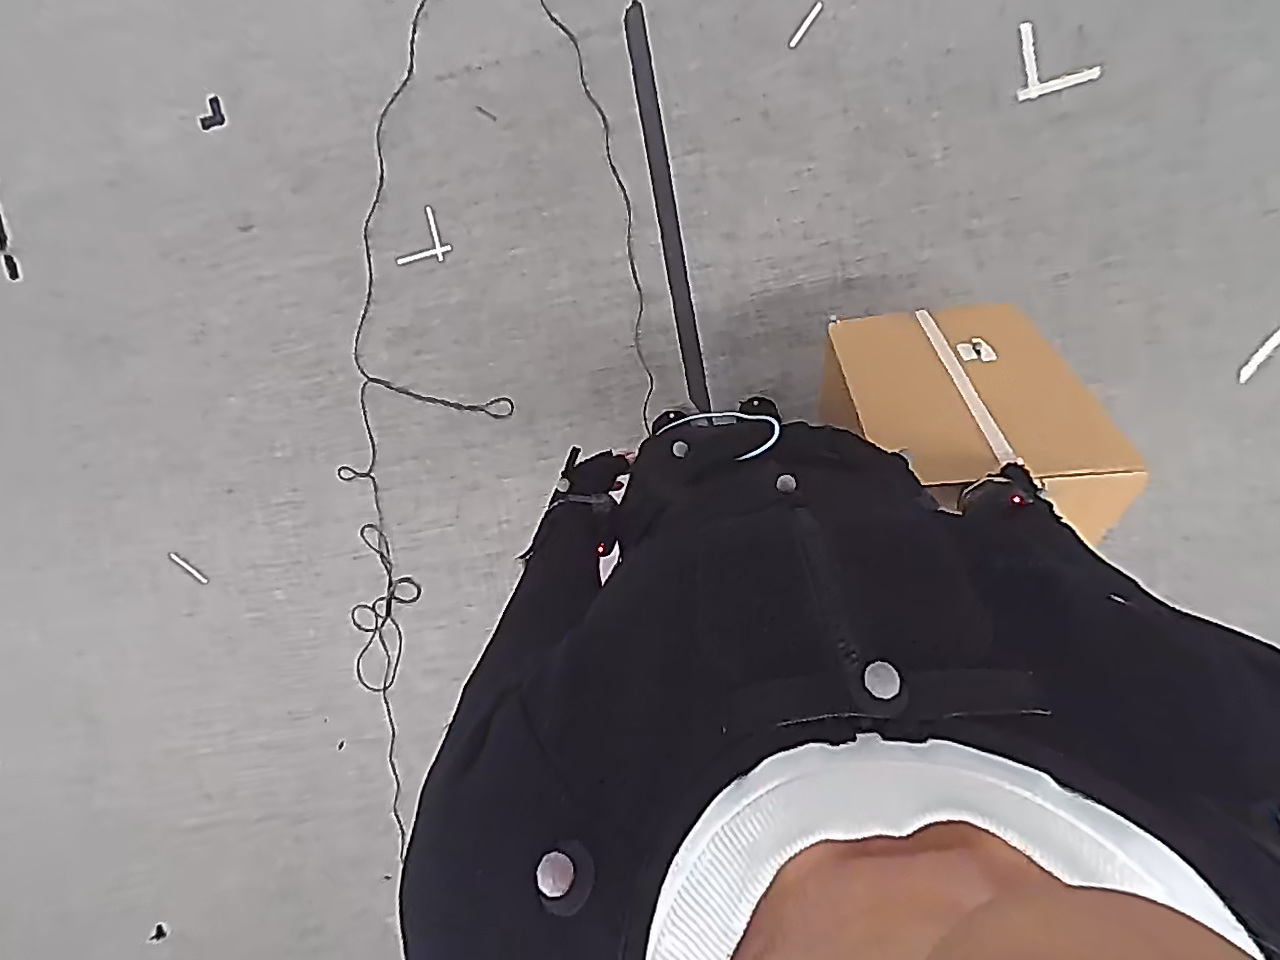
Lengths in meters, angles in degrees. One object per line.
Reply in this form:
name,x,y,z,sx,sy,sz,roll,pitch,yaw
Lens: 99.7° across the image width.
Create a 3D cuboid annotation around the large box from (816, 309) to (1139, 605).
large box,0.507,-0.041,0.937,0.320,0.408,0.320,-4,136,7
